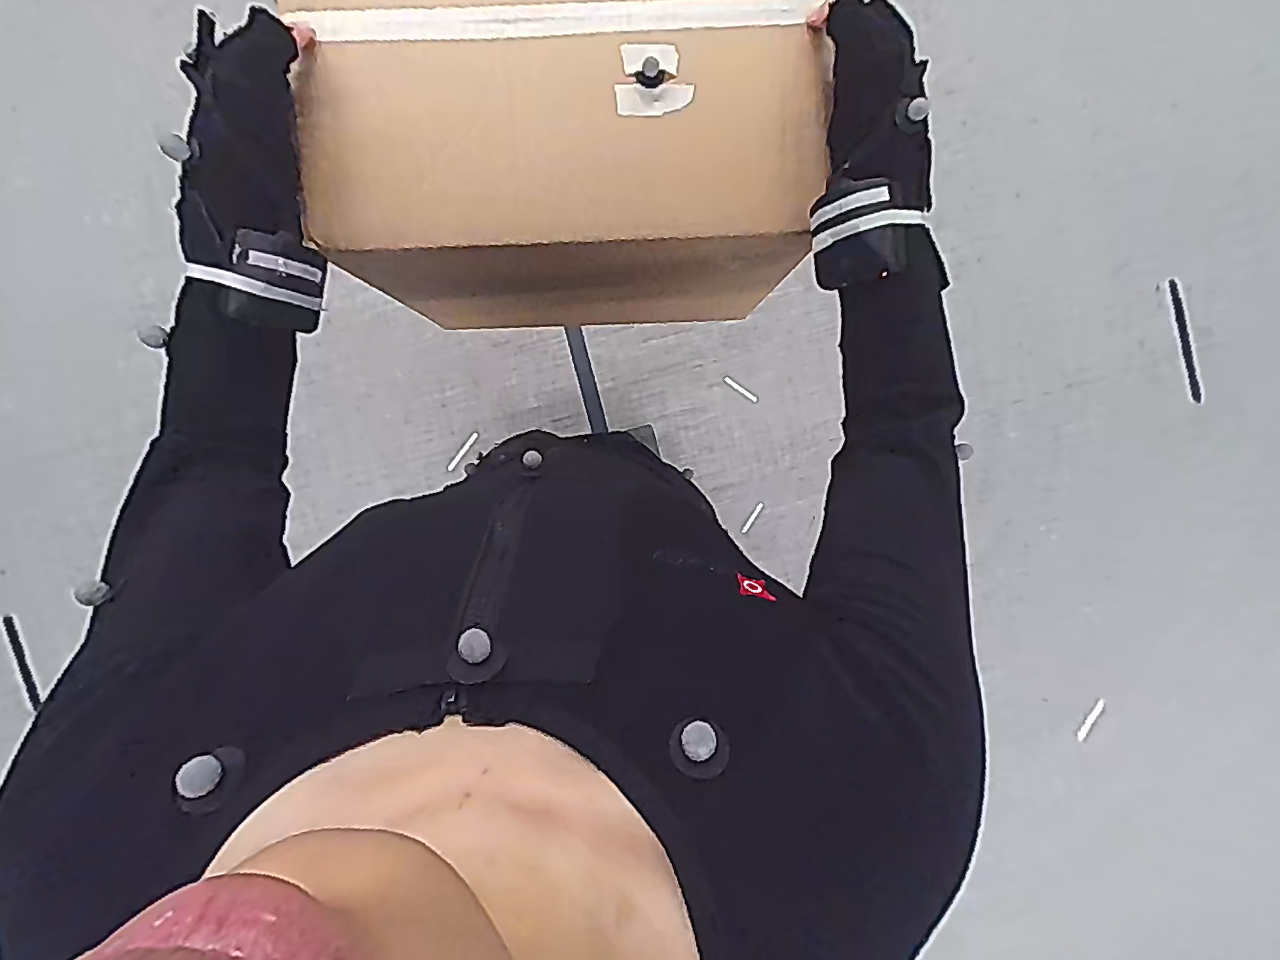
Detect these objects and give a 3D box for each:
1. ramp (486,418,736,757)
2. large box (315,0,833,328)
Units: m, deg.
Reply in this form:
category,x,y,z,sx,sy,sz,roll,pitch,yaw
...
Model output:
category,x,y,z,sx,sy,sz,roll,pitch,yaw
ramp,-0.052,0.353,1.595,0.509,0.206,0.991,-18,95,-1
large box,-0.055,-0.355,0.568,0.408,0.320,0.320,-2,95,-1
